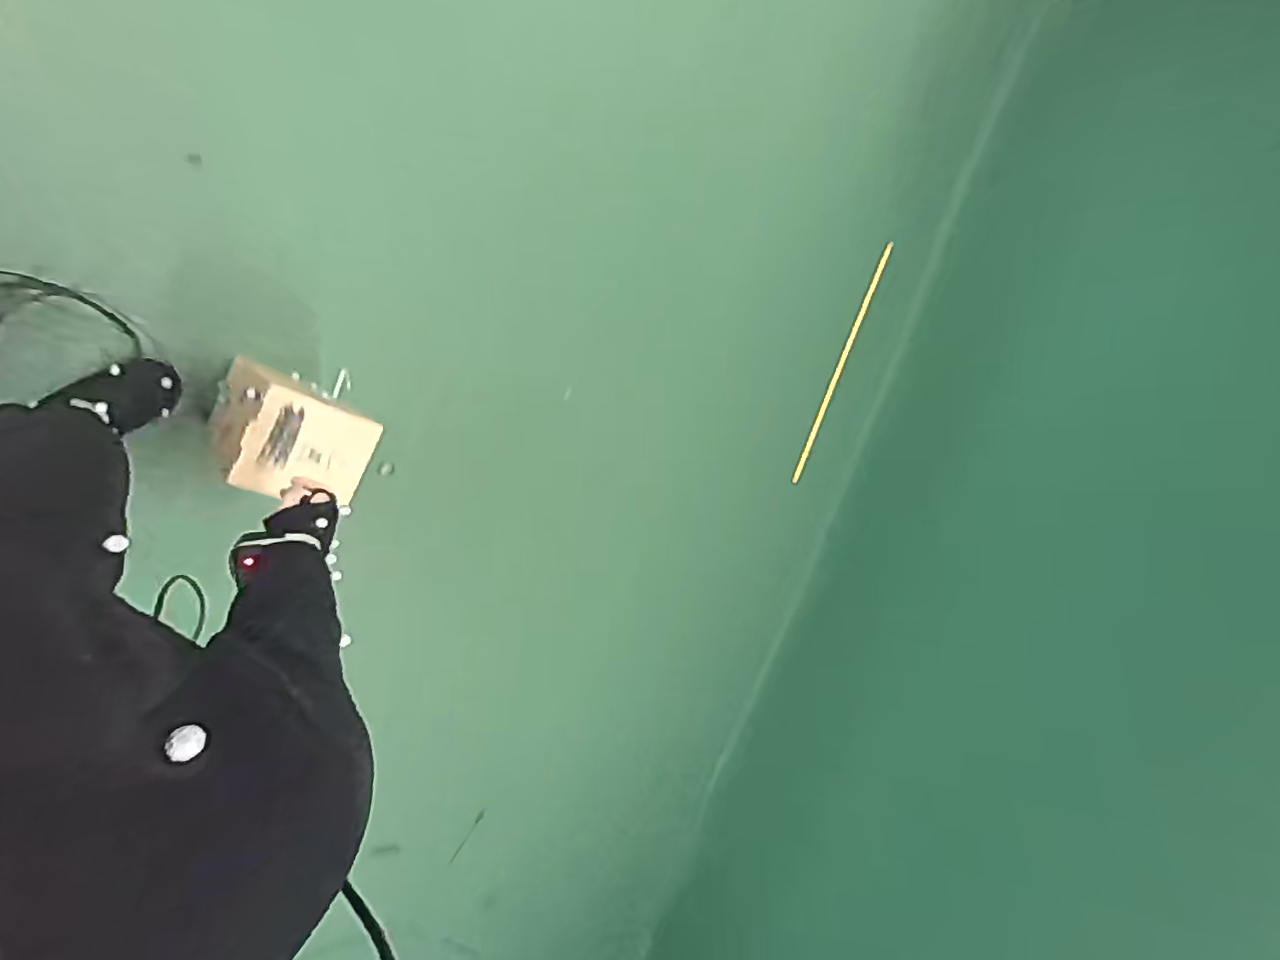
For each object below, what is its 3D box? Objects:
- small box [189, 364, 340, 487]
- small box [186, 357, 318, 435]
[{"bbox_3d":[-0.715,-0.108,1.028,0.179,0.176,0.168,29,85,-45],"label":"small box"},{"bbox_3d":[-0.825,-0.148,1.145,0.179,0.176,0.168,25,88,-45],"label":"small box"}]
